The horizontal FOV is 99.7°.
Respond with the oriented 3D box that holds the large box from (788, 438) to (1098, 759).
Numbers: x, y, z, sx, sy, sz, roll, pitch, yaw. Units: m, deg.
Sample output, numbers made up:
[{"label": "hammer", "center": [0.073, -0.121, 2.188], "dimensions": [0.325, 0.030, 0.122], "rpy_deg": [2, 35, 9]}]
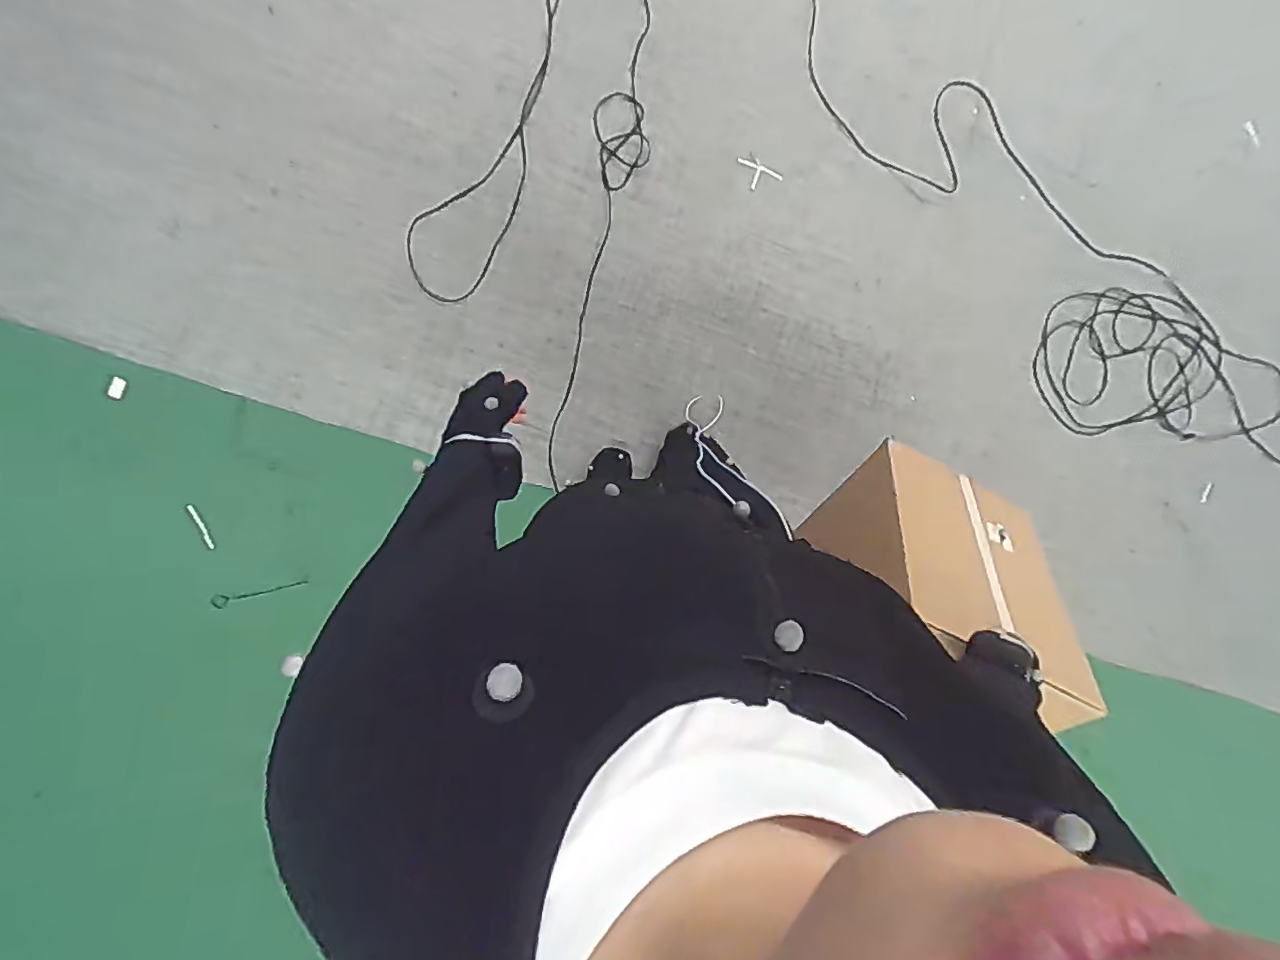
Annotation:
[{"label": "large box", "center": [0.483, 0.208, 0.970], "dimensions": [0.320, 0.408, 0.320], "rpy_deg": [27, 133, -6]}]
